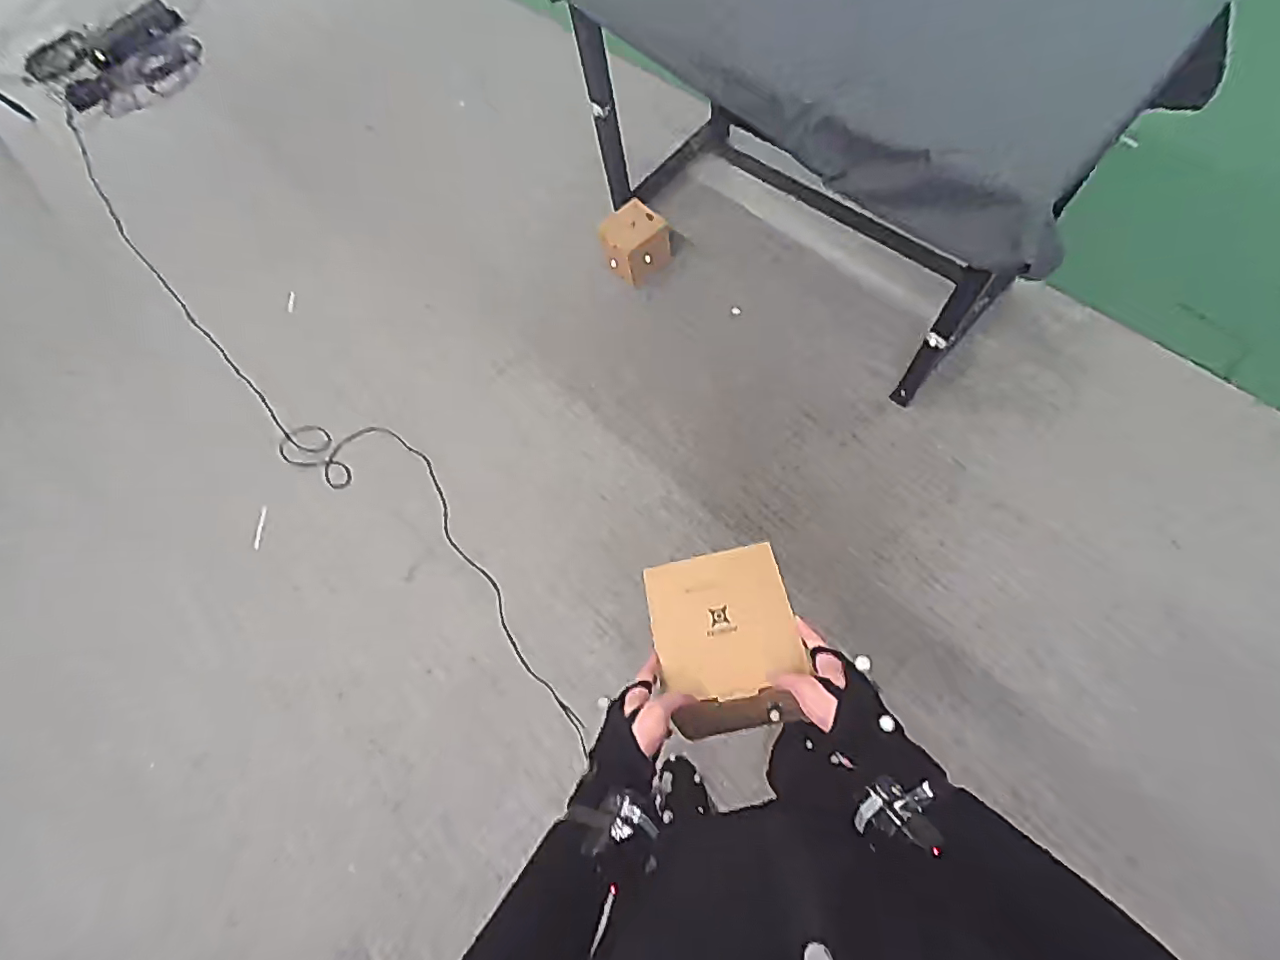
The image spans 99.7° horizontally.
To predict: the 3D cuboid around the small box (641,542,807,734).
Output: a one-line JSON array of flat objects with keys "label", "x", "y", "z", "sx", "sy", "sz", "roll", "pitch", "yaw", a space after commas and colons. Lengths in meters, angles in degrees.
[{"label": "small box", "x": 0.109, "y": 0.210, "z": 0.691, "sx": 0.168, "sy": 0.176, "sz": 0.179, "roll": -14, "pitch": 50, "yaw": 5}]
